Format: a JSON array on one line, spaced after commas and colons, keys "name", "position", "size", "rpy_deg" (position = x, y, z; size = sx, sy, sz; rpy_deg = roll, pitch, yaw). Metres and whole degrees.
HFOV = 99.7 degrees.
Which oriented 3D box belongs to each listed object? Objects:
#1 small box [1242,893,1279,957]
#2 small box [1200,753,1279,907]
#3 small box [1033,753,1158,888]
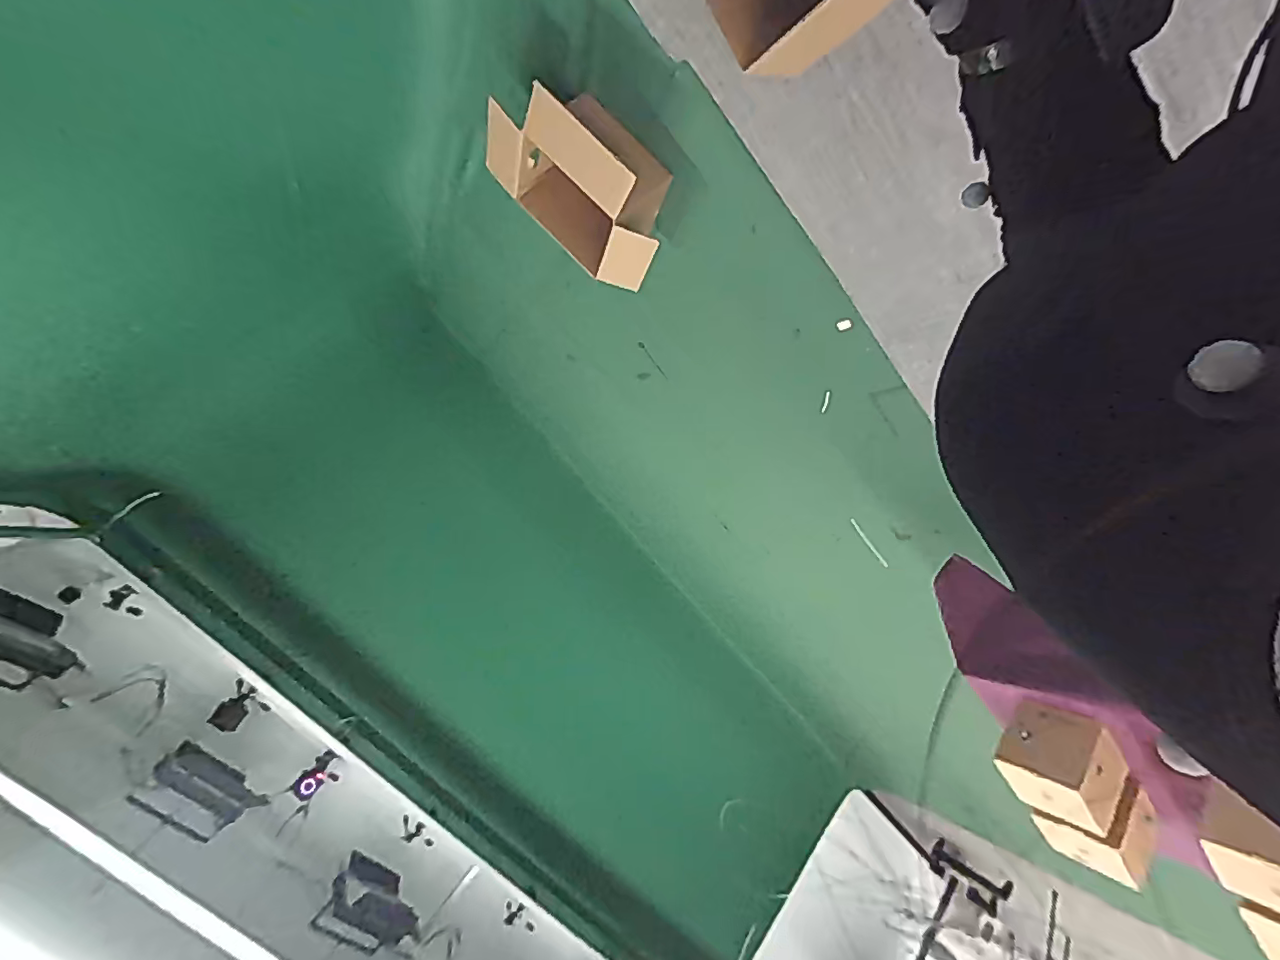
[{"name": "small box", "position": [1.225, 0.766, 0.957], "size": [0.179, 0.176, 0.168], "rpy_deg": [49, 157, -14]}, {"name": "small box", "position": [1.081, 0.599, 0.894], "size": [0.179, 0.176, 0.168], "rpy_deg": [51, 156, -19]}, {"name": "small box", "position": [1.056, 0.776, 1.253], "size": [0.179, 0.176, 0.168], "rpy_deg": [53, 156, -20]}]
